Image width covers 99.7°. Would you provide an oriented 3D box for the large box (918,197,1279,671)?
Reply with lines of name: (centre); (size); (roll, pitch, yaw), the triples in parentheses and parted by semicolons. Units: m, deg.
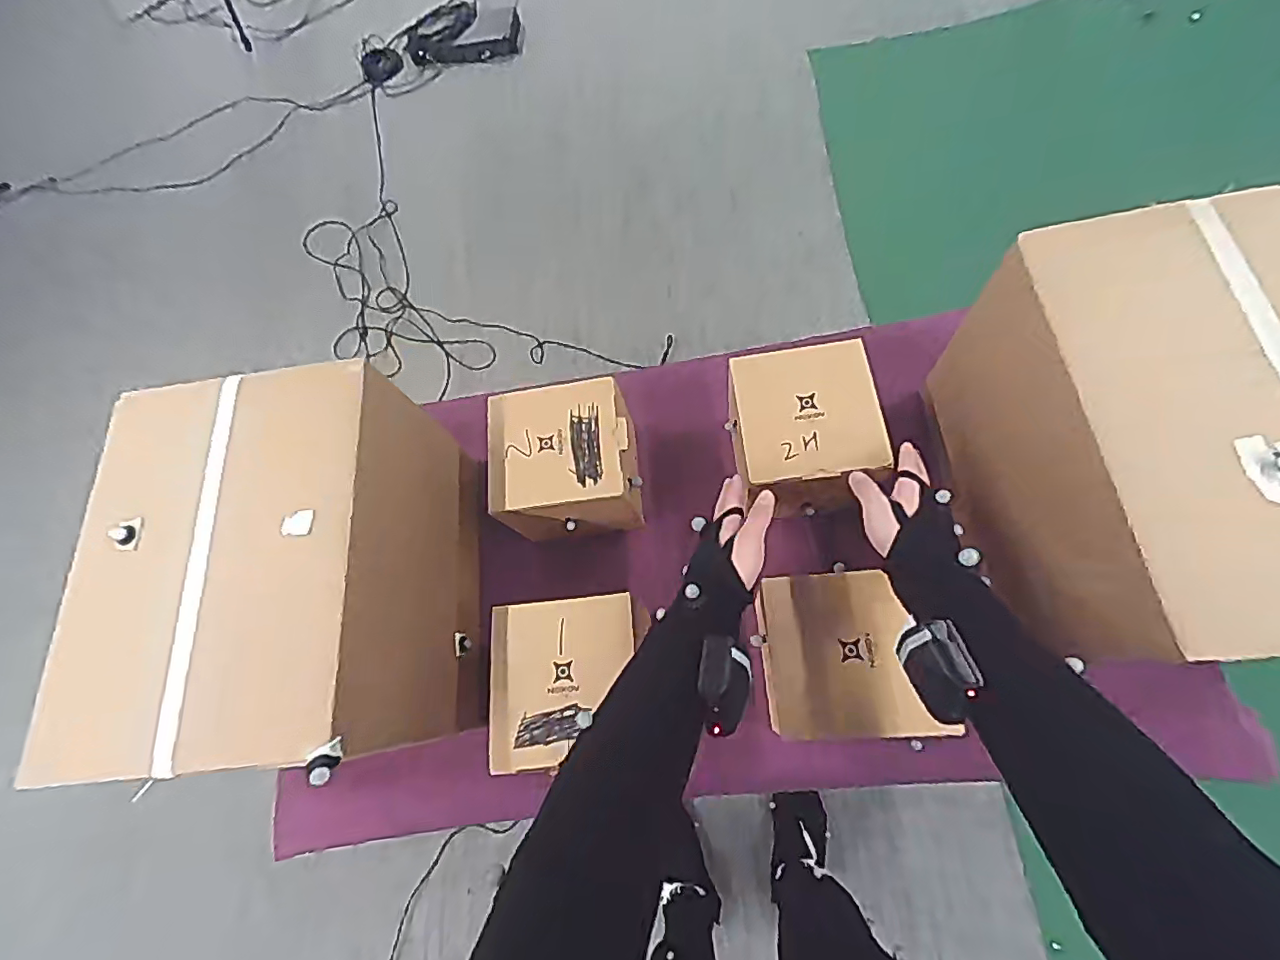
large box: (0.552, -0.020, 0.582); (0.320, 0.320, 0.408); (-7, 70, 8)
